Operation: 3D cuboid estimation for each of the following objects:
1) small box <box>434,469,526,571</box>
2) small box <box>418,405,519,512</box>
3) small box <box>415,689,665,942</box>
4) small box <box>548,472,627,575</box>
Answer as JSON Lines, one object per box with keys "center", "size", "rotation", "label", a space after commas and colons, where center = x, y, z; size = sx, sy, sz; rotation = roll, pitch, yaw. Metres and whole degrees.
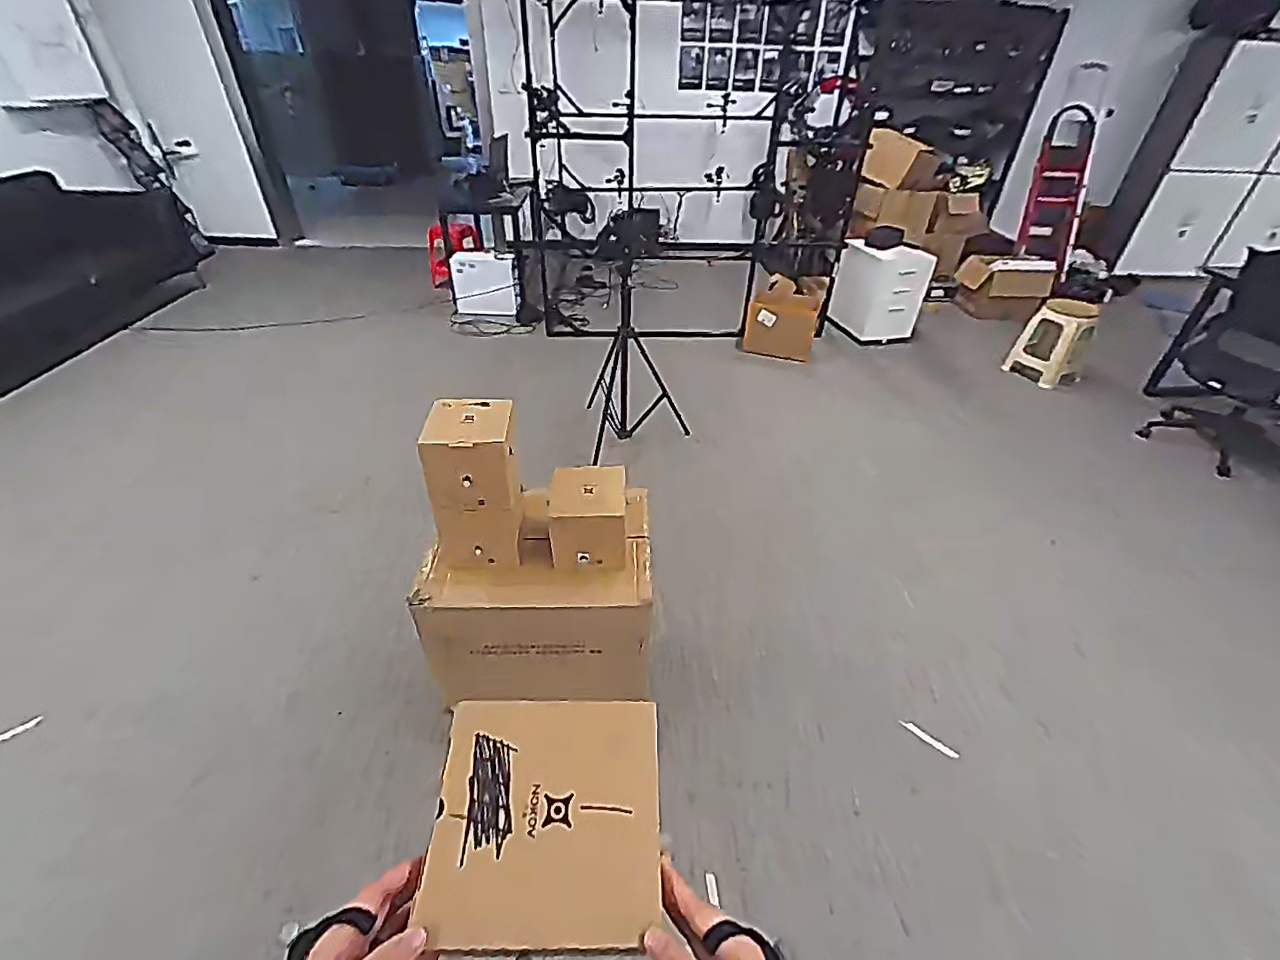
{"center": [-0.358, 0.089, 1.245], "size": [0.168, 0.176, 0.179], "rotation": [0, 37, -4], "label": "small box"}
{"center": [-0.353, -0.044, 1.149], "size": [0.168, 0.176, 0.179], "rotation": [-1, 38, -6], "label": "small box"}
{"center": [-0.072, 0.301, 0.483], "size": [0.179, 0.176, 0.168], "rotation": [1, 48, -3], "label": "small box"}
{"center": [-0.115, 0.098, 1.247], "size": [0.168, 0.176, 0.179], "rotation": [-2, 38, -1], "label": "small box"}
